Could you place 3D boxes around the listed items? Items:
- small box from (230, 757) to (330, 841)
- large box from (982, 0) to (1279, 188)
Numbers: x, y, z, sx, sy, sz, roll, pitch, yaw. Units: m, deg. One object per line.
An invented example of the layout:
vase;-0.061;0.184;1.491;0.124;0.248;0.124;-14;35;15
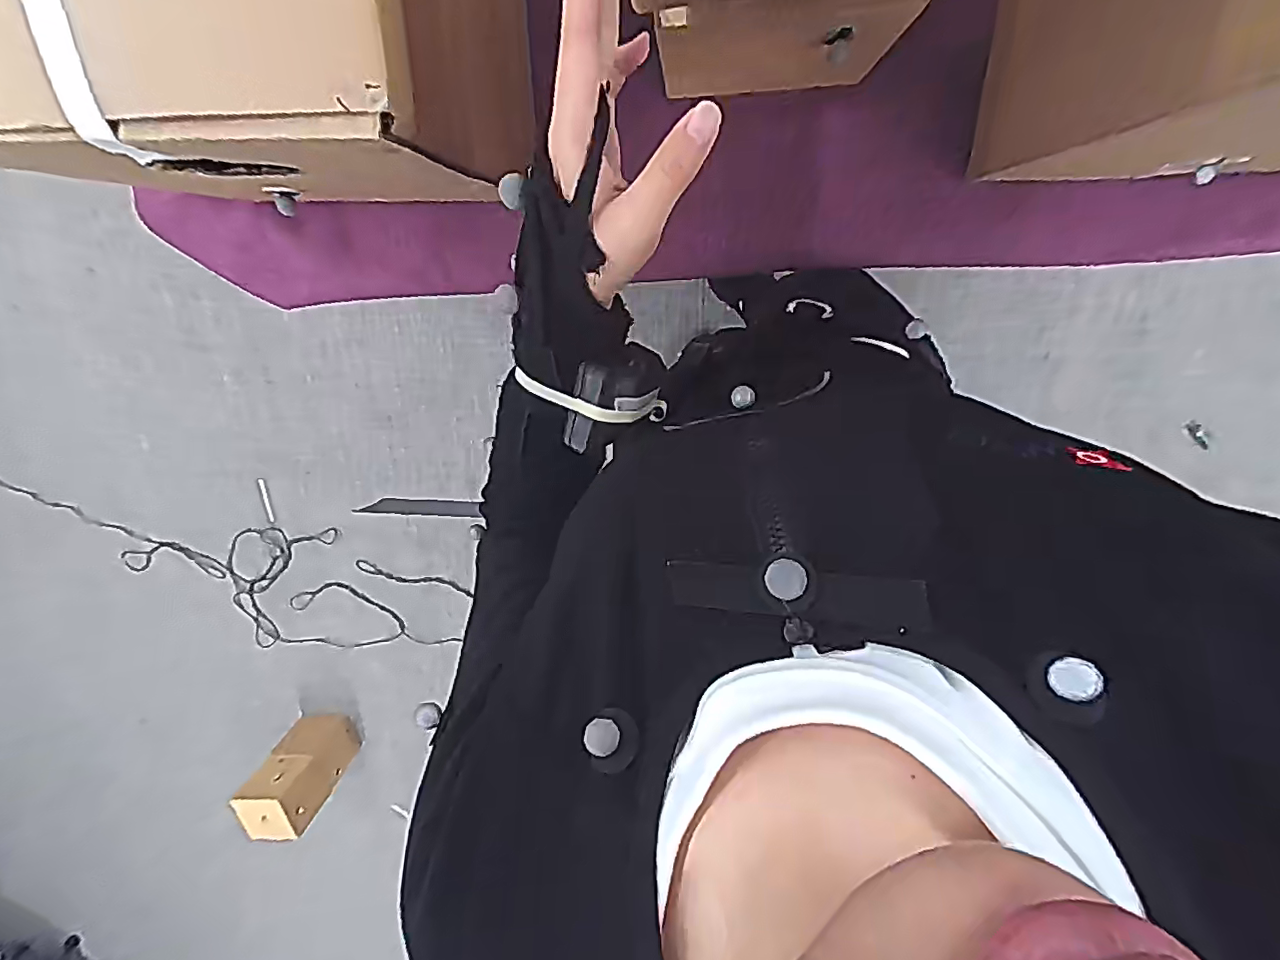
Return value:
small box;-1.121;0.996;1.697;0.168;0.176;0.179;-5;112;9
large box;0.433;-0.401;0.272;0.320;0.320;0.408;1;110;5
